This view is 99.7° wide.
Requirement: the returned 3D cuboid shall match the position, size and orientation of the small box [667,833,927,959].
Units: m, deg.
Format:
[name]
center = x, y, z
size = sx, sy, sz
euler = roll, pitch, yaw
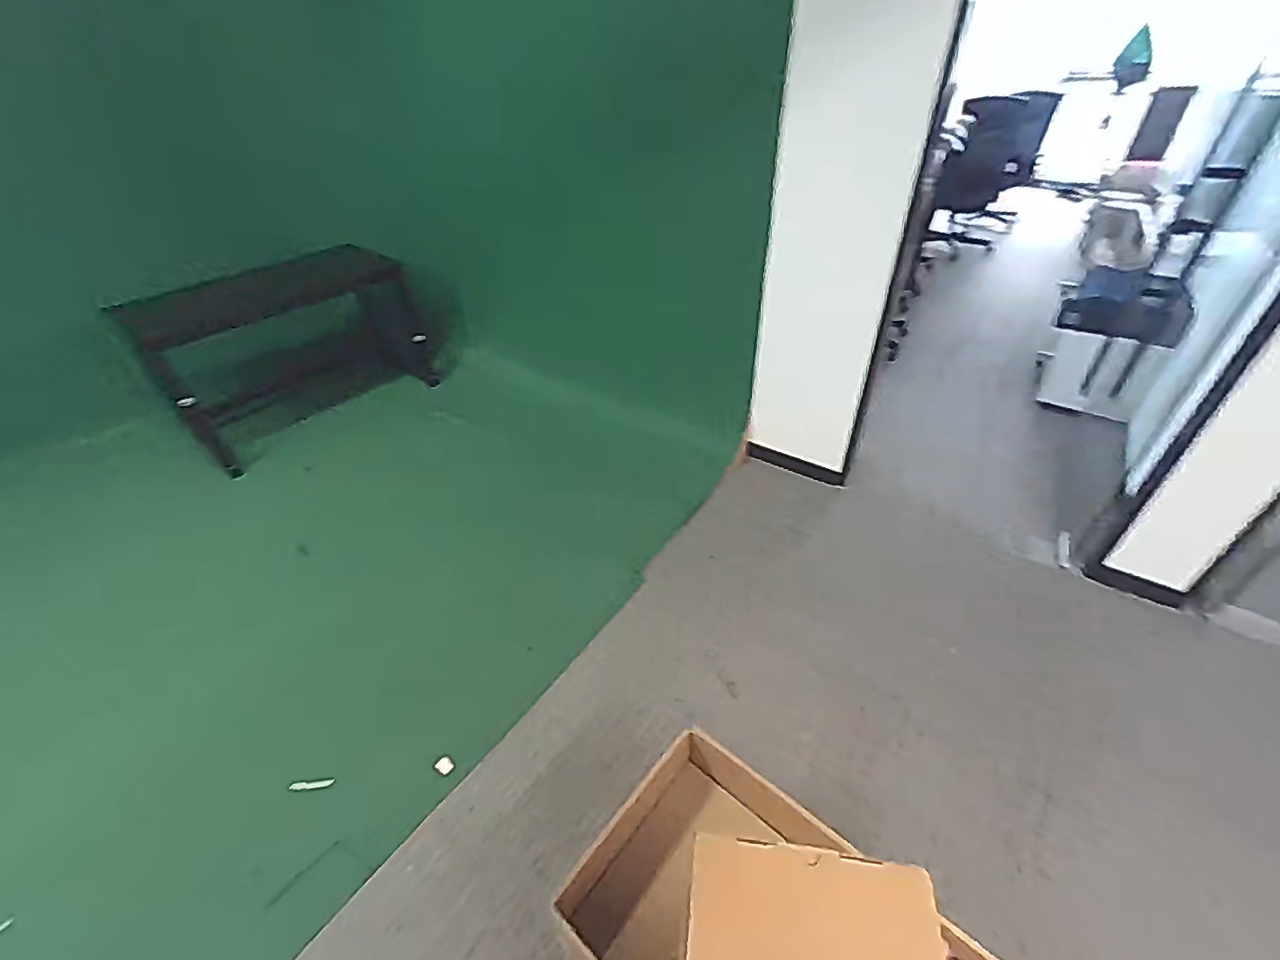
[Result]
[small box]
center = 0.101, 0.385, 0.385
size = 0.168, 0.176, 0.179
euler = 4, 44, 8
